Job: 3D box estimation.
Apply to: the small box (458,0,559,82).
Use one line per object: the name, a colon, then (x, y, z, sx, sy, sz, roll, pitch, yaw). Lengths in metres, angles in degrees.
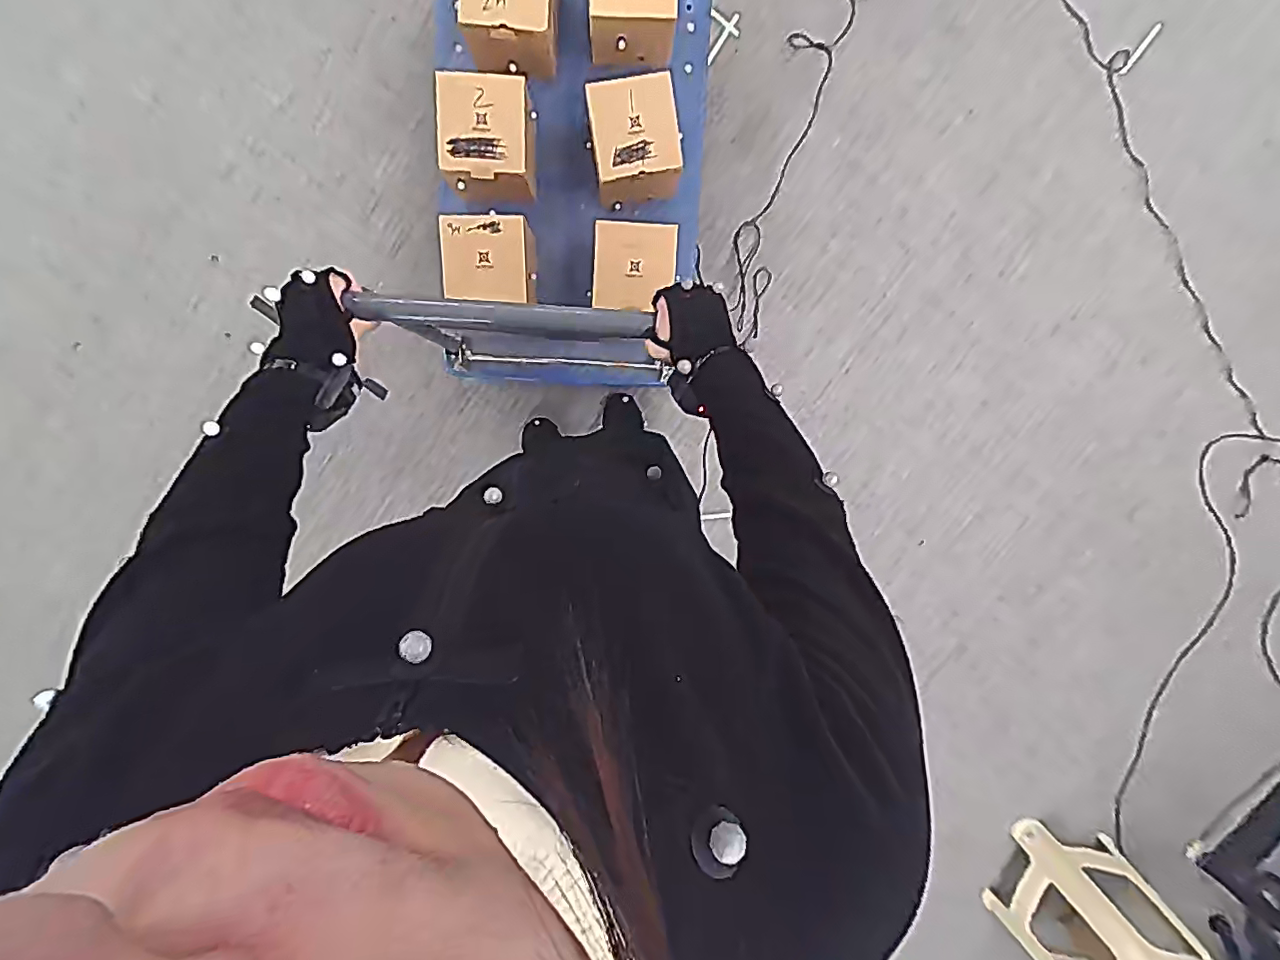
small box: (-0.251, -0.933, 1.064, 0.168, 0.176, 0.179, 4, 101, -4)

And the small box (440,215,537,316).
small box: (-0.312, -0.444, 1.147, 0.168, 0.176, 0.179, -1, 100, -4)

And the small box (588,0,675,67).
small box: (-0.018, -0.961, 1.073, 0.168, 0.176, 0.179, -1, 100, -3)

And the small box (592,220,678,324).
small box: (-0.014, -0.438, 1.164, 0.168, 0.176, 0.179, 3, 99, -4)

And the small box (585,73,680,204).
small box: (-0.015, -0.692, 1.119, 0.168, 0.176, 0.179, -9, 99, -1)
